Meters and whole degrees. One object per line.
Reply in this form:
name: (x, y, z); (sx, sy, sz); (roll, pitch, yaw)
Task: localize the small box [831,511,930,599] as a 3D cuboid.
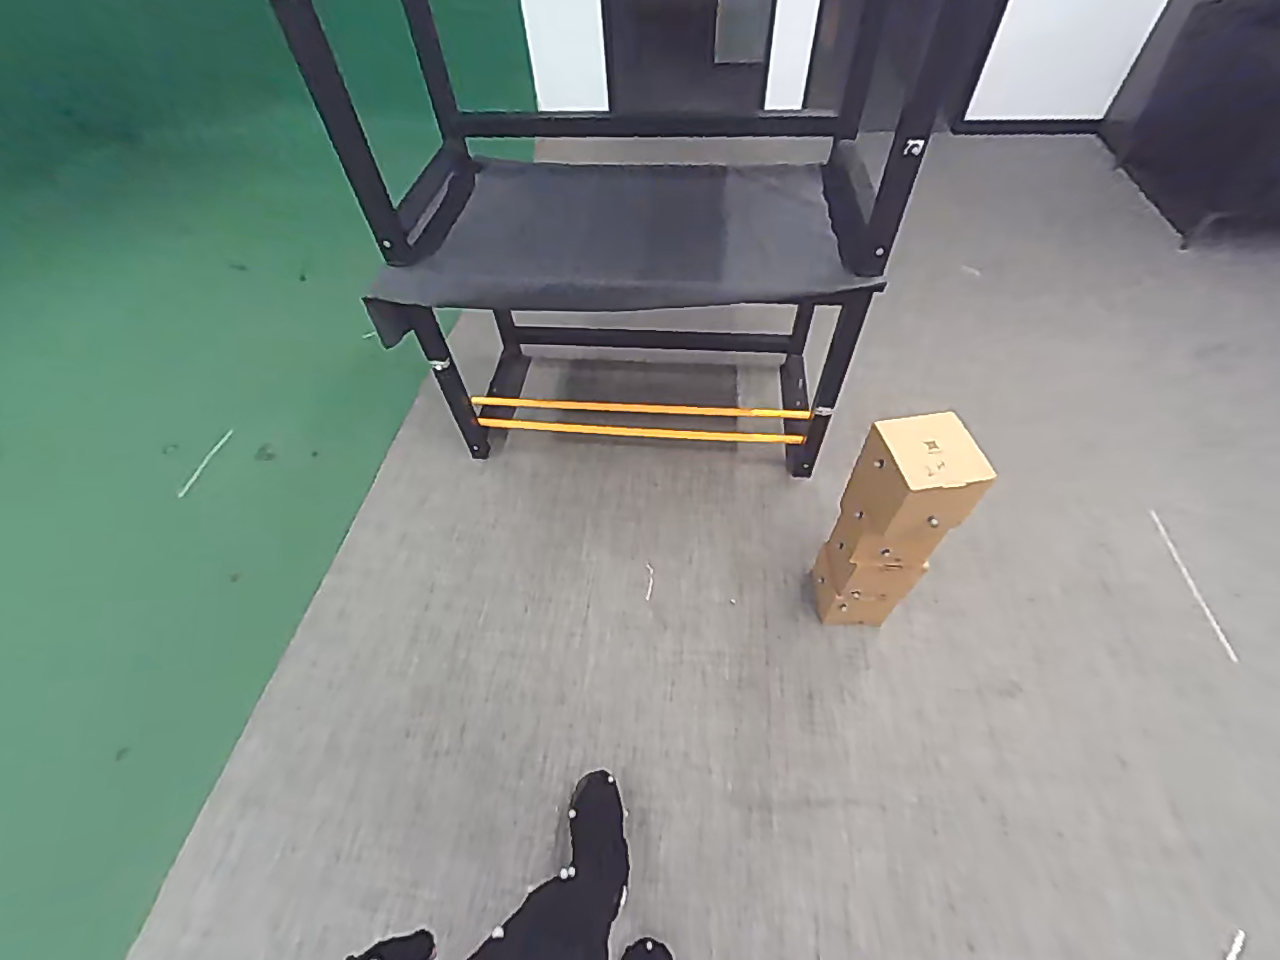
small box: (0.587, 0.184, 1.343); (0.168, 0.176, 0.179); (1, 51, 4)

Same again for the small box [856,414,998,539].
small box: (0.555, -0.006, 1.080); (0.168, 0.176, 0.179); (-8, 53, -2)

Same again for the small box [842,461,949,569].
small box: (0.566, 0.079, 1.220); (0.168, 0.176, 0.179); (3, 53, 6)
